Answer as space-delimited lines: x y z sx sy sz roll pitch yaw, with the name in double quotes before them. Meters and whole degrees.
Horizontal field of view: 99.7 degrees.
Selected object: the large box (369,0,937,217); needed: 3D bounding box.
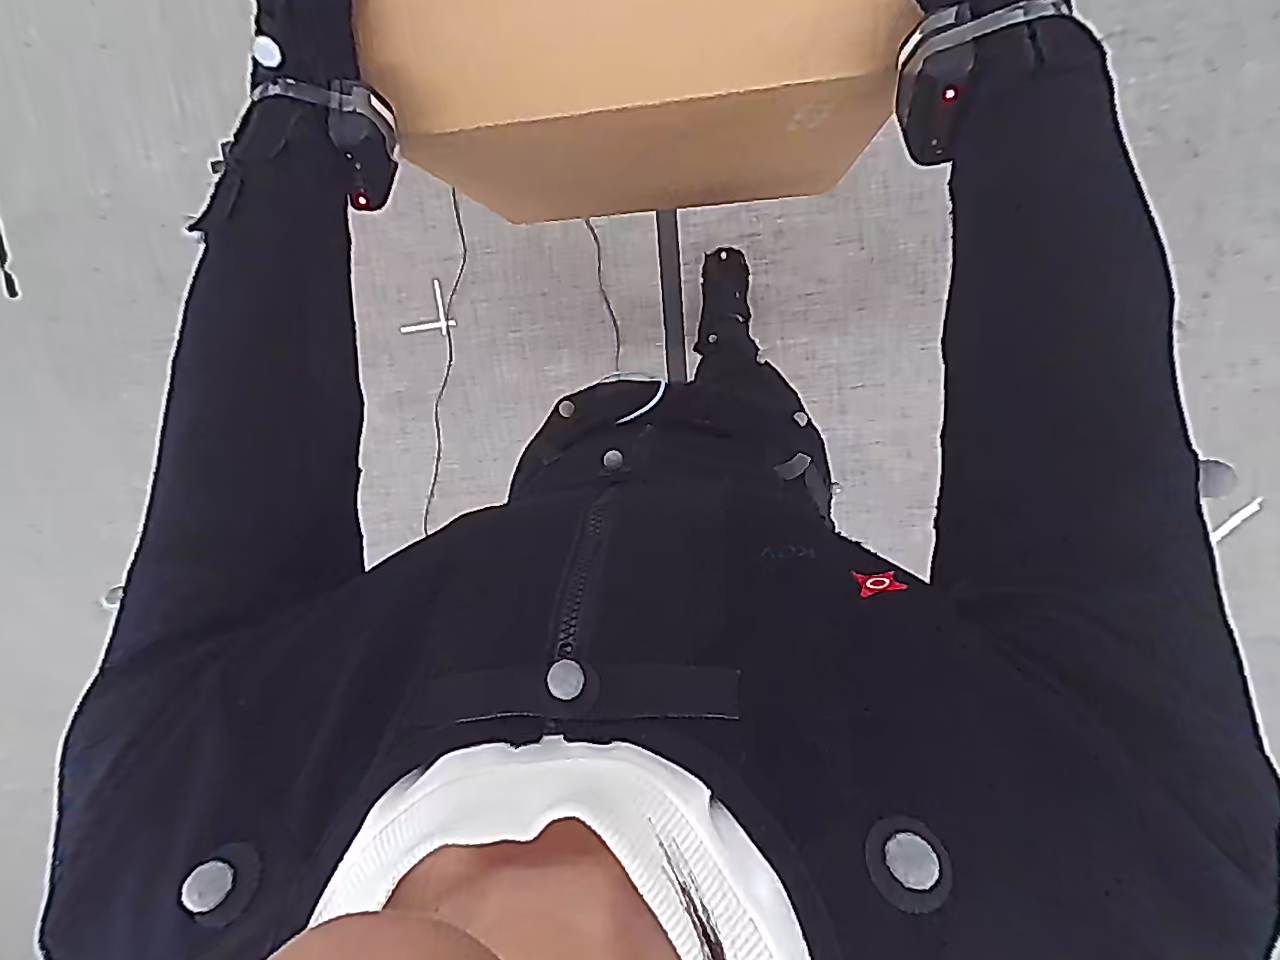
"large box" 0.006 -0.465 0.502 0.408 0.320 0.320 -3 104 7
